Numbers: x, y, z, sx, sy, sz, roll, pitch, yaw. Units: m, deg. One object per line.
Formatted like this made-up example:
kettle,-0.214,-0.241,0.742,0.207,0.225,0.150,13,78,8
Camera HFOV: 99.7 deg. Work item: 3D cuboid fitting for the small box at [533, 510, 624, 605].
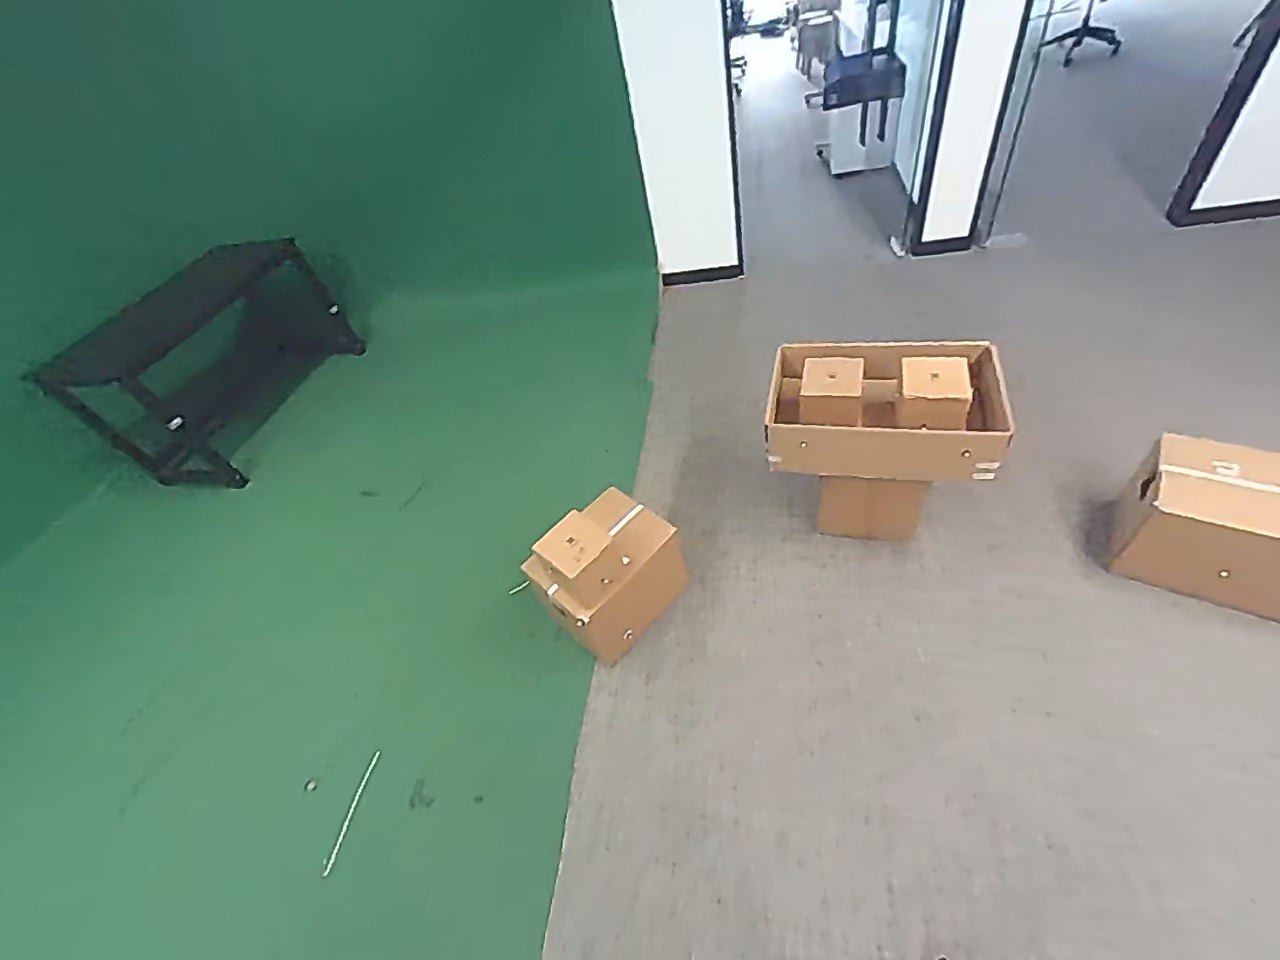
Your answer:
small box,-0.169,0.222,1.532,0.179,0.176,0.168,30,61,33

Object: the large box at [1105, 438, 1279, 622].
large box,1.607,0.133,1.495,0.408,0.320,0.320,18,54,29

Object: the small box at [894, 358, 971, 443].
small box,0.828,-0.229,1.547,0.168,0.176,0.179,5,51,19
